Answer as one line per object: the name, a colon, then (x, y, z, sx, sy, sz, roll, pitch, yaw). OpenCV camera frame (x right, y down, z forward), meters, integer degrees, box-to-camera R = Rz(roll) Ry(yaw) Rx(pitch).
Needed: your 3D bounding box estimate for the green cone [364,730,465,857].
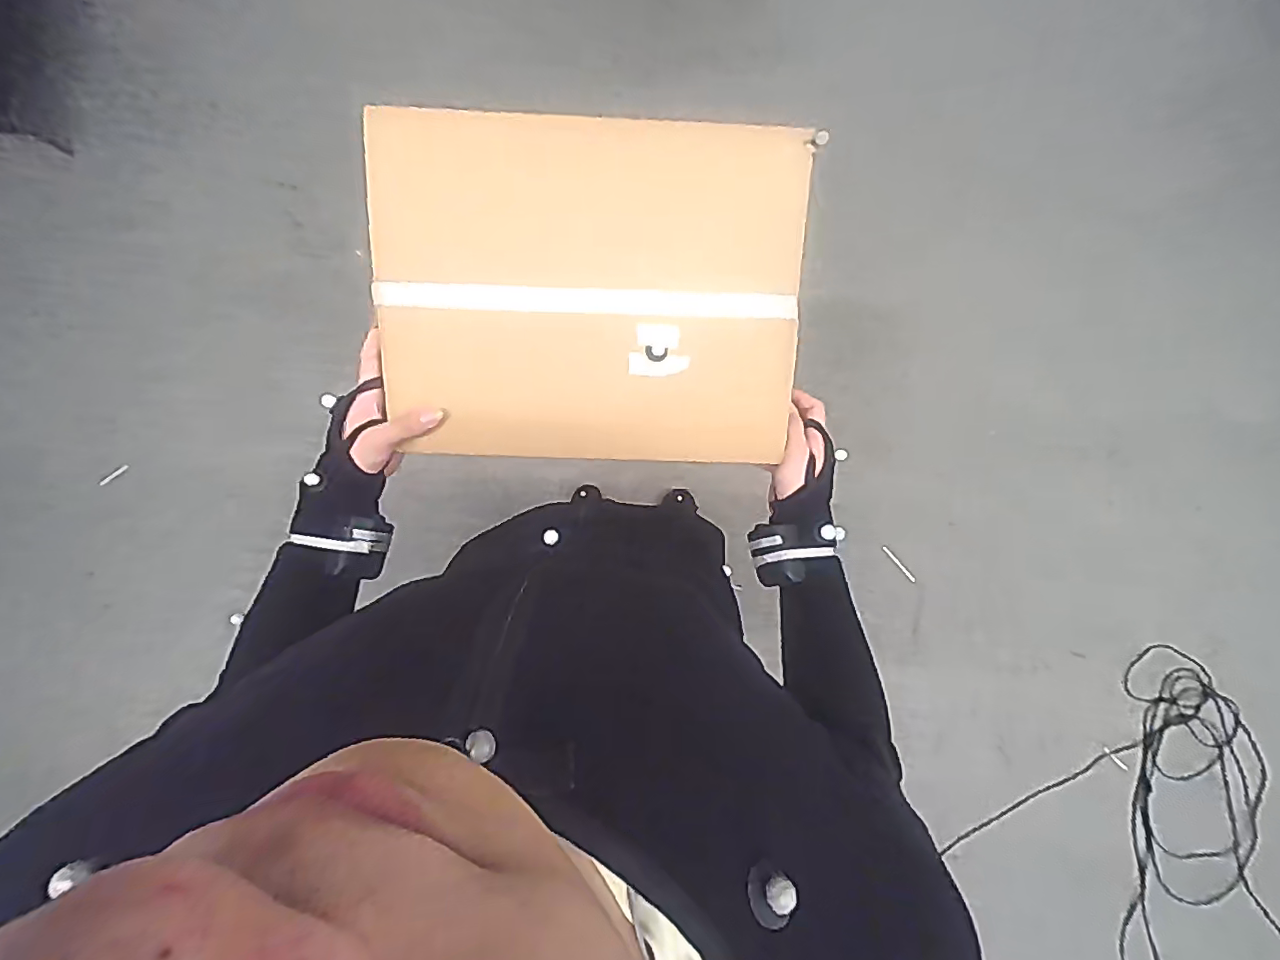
green cone: (-0.641, 0.868, 1.461, 0.200, 0.368, 0.202, 11, 91, 0)

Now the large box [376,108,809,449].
large box: (-0.050, -0.218, 0.672, 0.408, 0.320, 0.320, 1, 105, -3)
